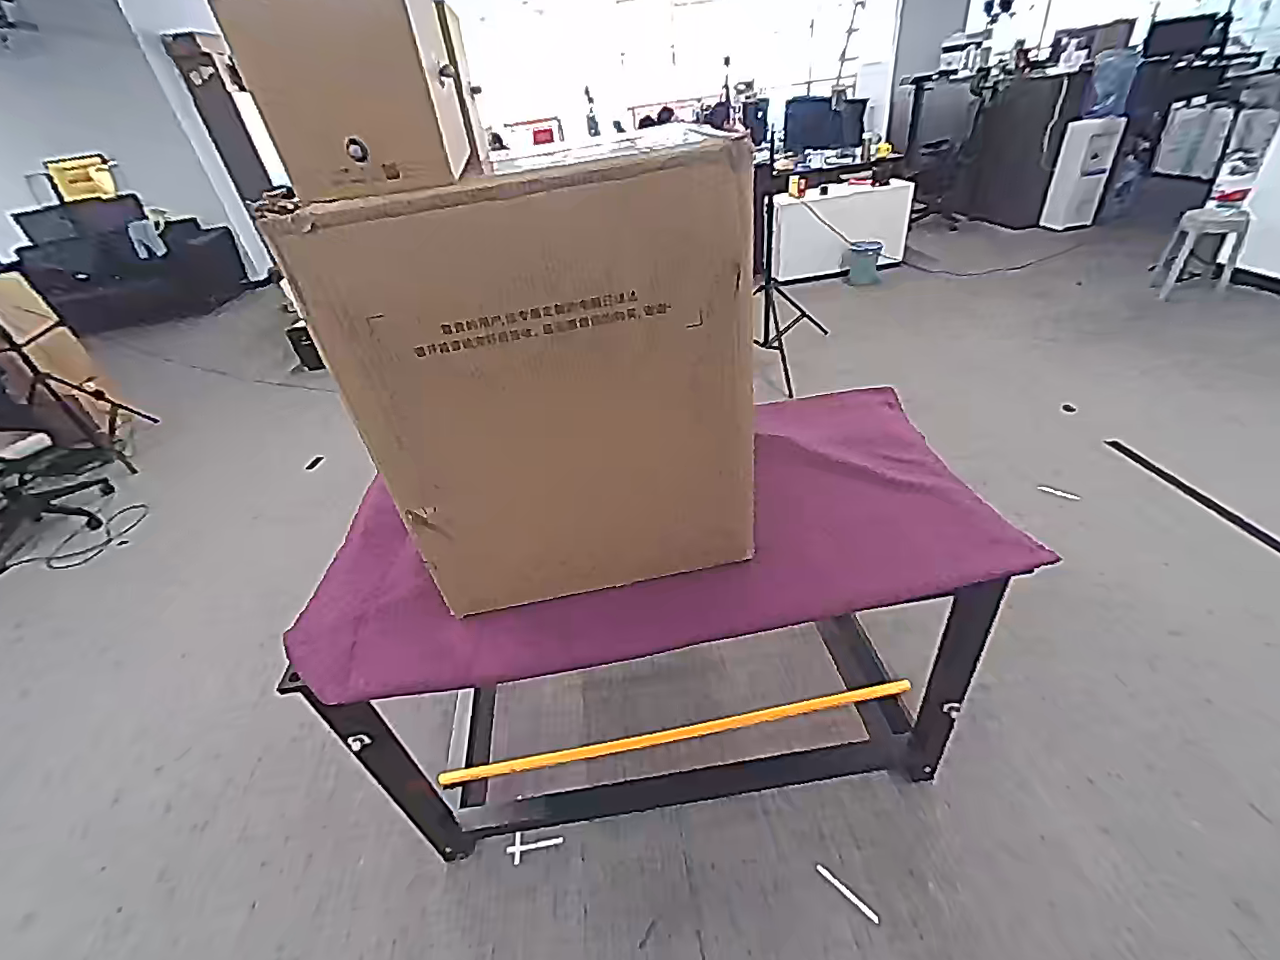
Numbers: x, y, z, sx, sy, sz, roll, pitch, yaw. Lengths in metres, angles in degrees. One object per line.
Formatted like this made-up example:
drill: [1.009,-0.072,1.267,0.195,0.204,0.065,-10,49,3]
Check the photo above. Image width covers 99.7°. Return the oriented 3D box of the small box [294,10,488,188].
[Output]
small box: [-0.315,-0.510,0.733,0.179,0.176,0.168,-10,35,-4]
